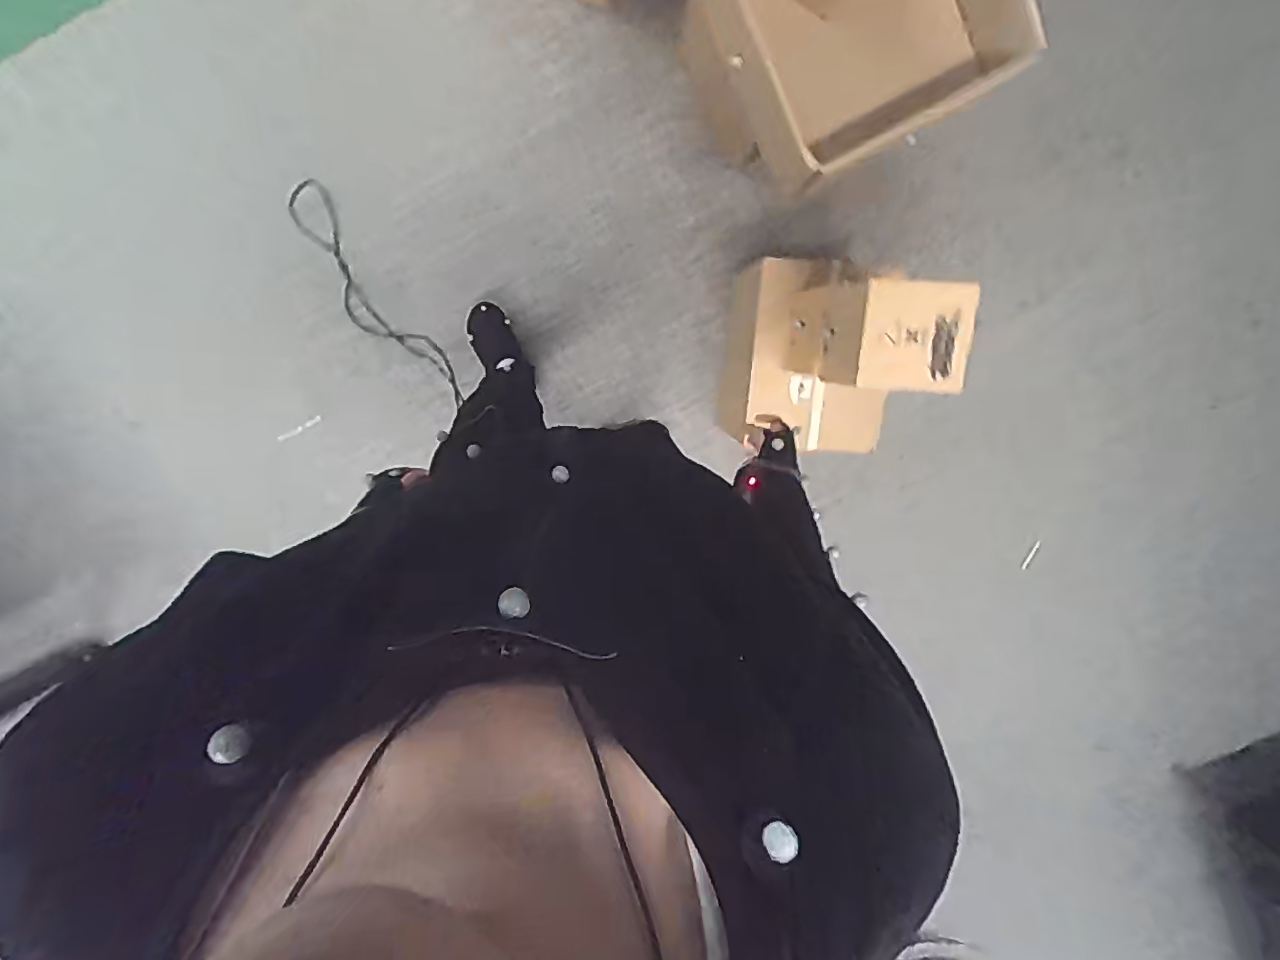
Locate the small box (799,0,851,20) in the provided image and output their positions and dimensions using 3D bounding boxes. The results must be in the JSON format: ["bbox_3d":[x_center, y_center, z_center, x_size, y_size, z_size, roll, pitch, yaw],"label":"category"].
[{"bbox_3d":[0.302,-0.866,0.820,0.179,0.176,0.168,33,101,-8],"label":"small box"}]

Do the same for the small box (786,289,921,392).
[{"bbox_3d":[0.412,-0.275,1.072,0.179,0.176,0.168,7,103,-5],"label":"small box"}]
